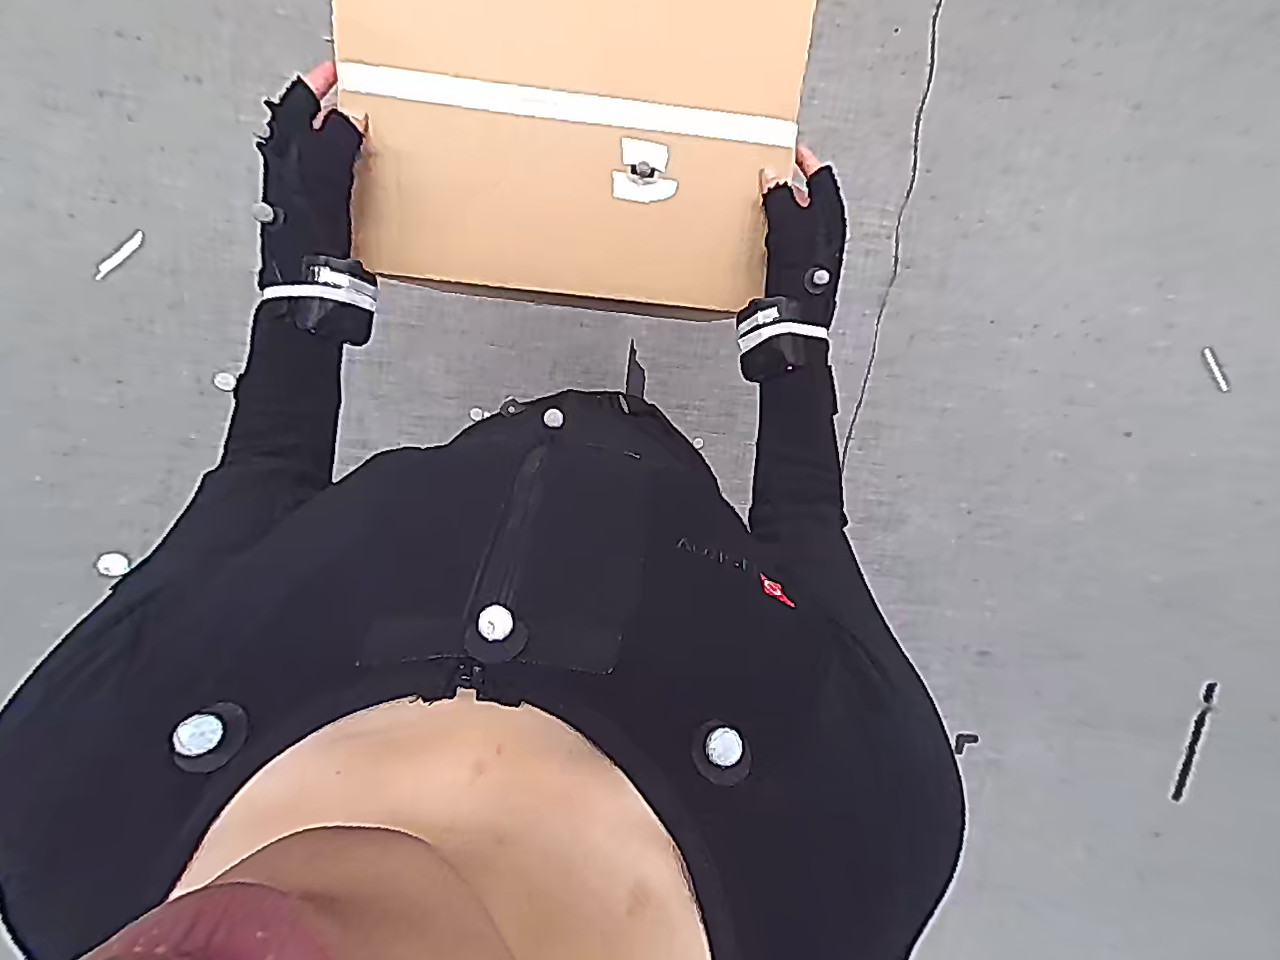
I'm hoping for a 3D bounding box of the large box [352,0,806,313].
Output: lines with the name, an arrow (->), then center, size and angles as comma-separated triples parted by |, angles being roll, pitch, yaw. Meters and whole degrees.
large box -> -0.068, -0.378, 0.639 | 0.408, 0.320, 0.320 | 4, 105, -5
